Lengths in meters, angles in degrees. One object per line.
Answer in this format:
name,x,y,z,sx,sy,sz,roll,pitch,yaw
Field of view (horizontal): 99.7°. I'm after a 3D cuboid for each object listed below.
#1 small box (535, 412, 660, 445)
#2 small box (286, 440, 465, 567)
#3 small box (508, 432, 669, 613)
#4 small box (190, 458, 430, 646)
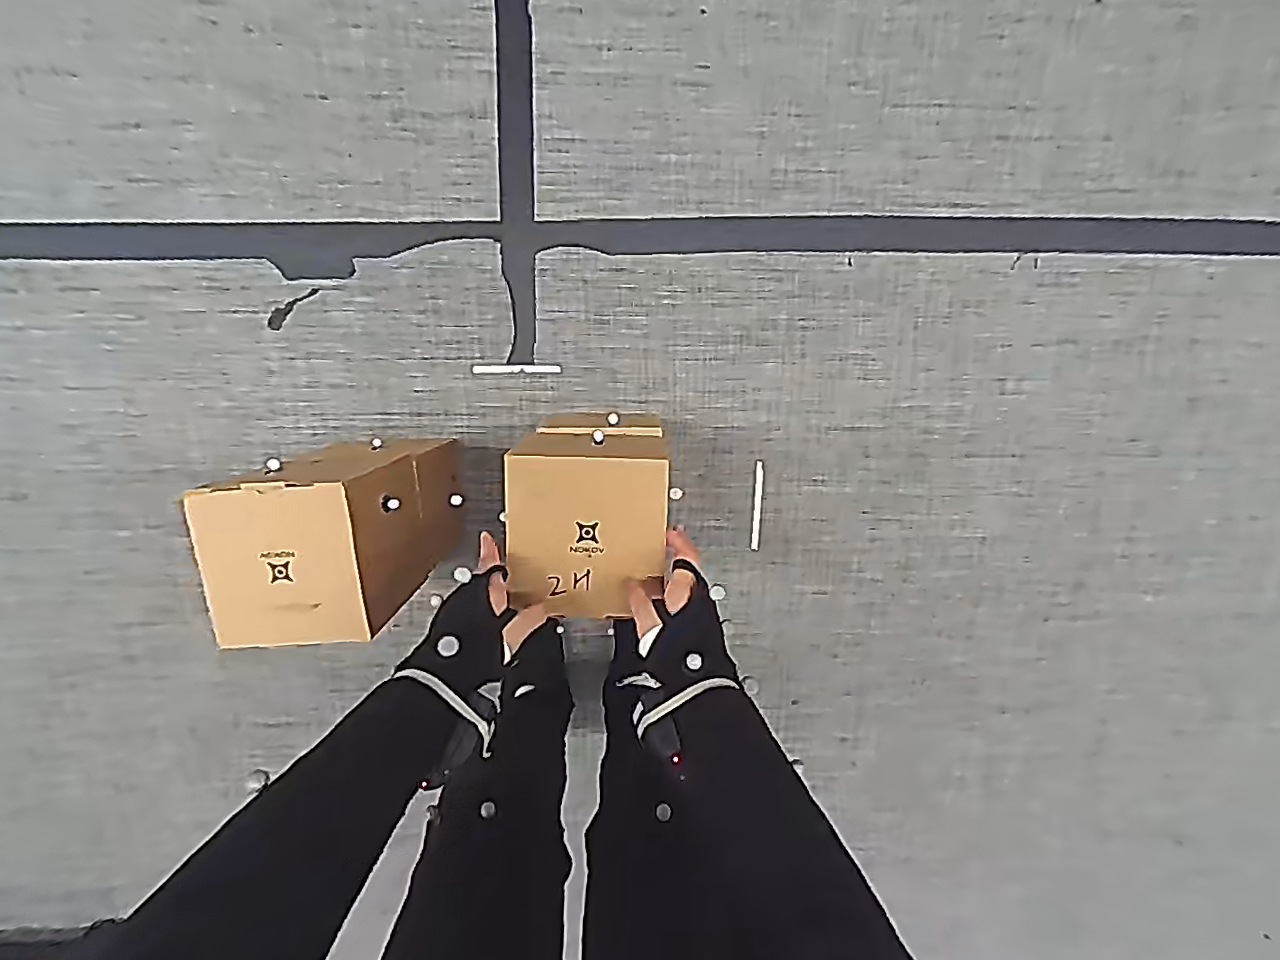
small box,-0.057,-0.004,0.799,0.168,0.176,0.179,0,103,-1
small box,-0.375,0.034,0.798,0.179,0.176,0.168,-2,103,-1
small box,-0.057,0.040,0.638,0.168,0.176,0.179,1,103,-1
small box,-0.368,0.072,0.640,0.168,0.176,0.179,-4,104,1
